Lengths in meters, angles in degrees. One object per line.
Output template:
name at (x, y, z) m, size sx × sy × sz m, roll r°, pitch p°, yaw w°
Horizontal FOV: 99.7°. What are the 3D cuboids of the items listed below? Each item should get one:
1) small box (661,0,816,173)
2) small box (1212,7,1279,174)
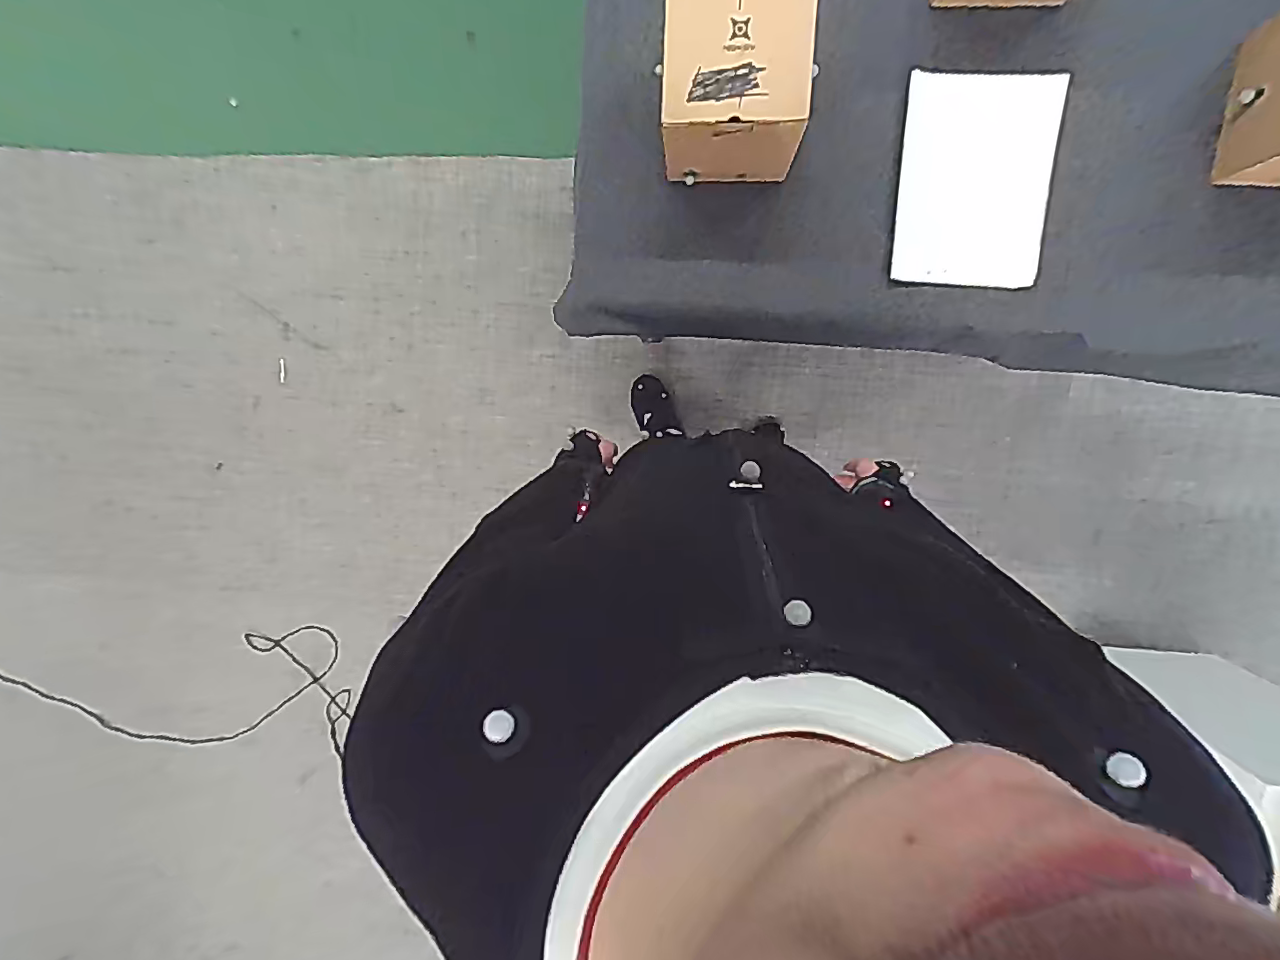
small box at (0.116, -0.501, 0.672) m, size 0.168 × 0.176 × 0.179 m, roll 2°, pitch 100°, yaw 5°
small box at (0.819, -0.459, 0.607) m, size 0.168 × 0.176 × 0.179 m, roll 5°, pitch 101°, yaw 5°
